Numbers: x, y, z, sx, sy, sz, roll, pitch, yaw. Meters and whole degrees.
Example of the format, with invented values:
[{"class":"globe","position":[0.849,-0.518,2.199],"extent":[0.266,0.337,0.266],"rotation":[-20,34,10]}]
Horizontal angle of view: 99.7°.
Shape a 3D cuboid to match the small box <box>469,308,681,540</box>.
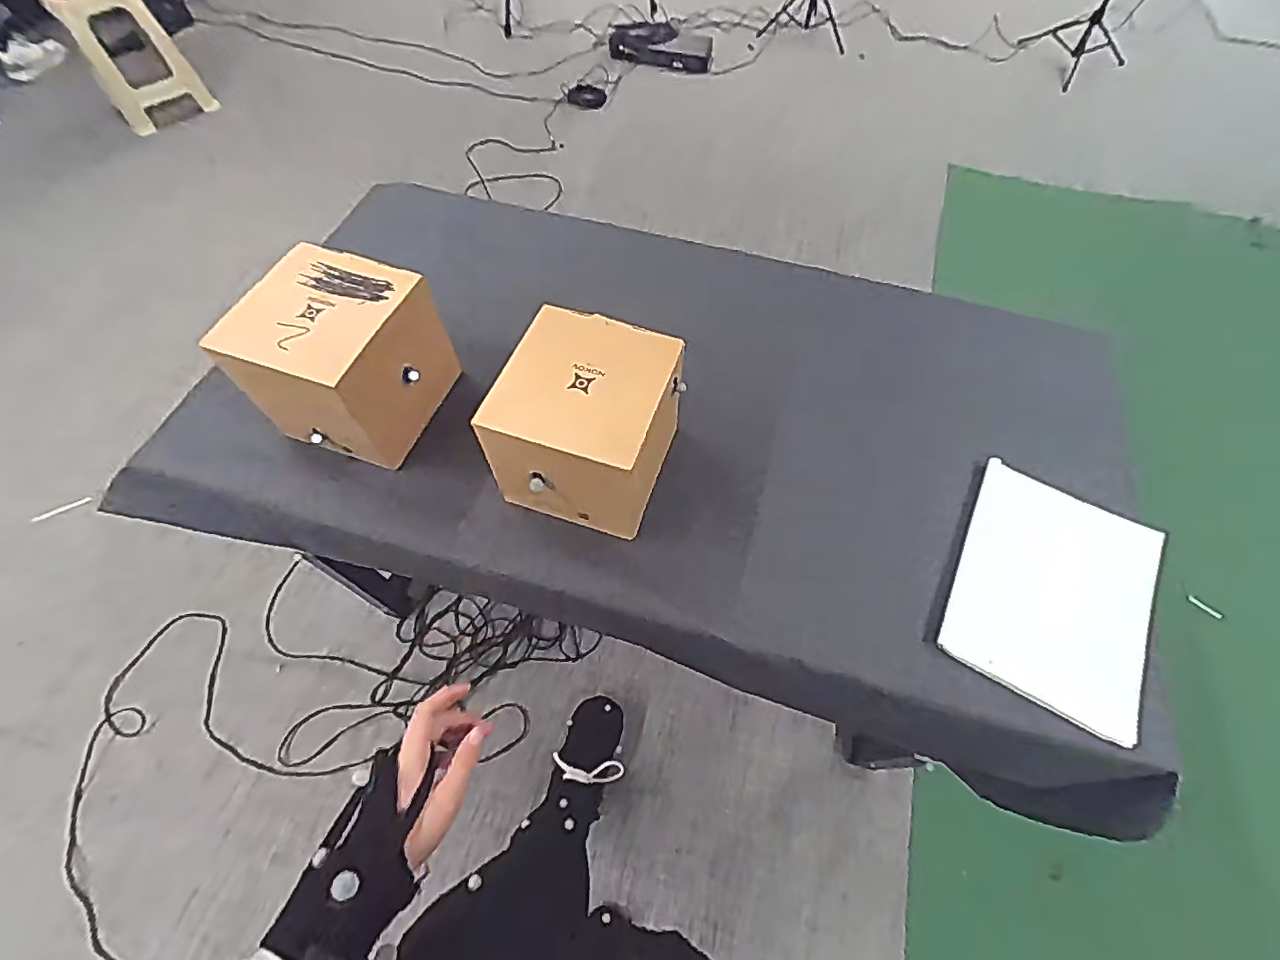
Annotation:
[{"class":"small box","position":[-0.059,-0.056,0.608],"extent":[0.168,0.176,0.179],"rotation":[17,60,9]}]
